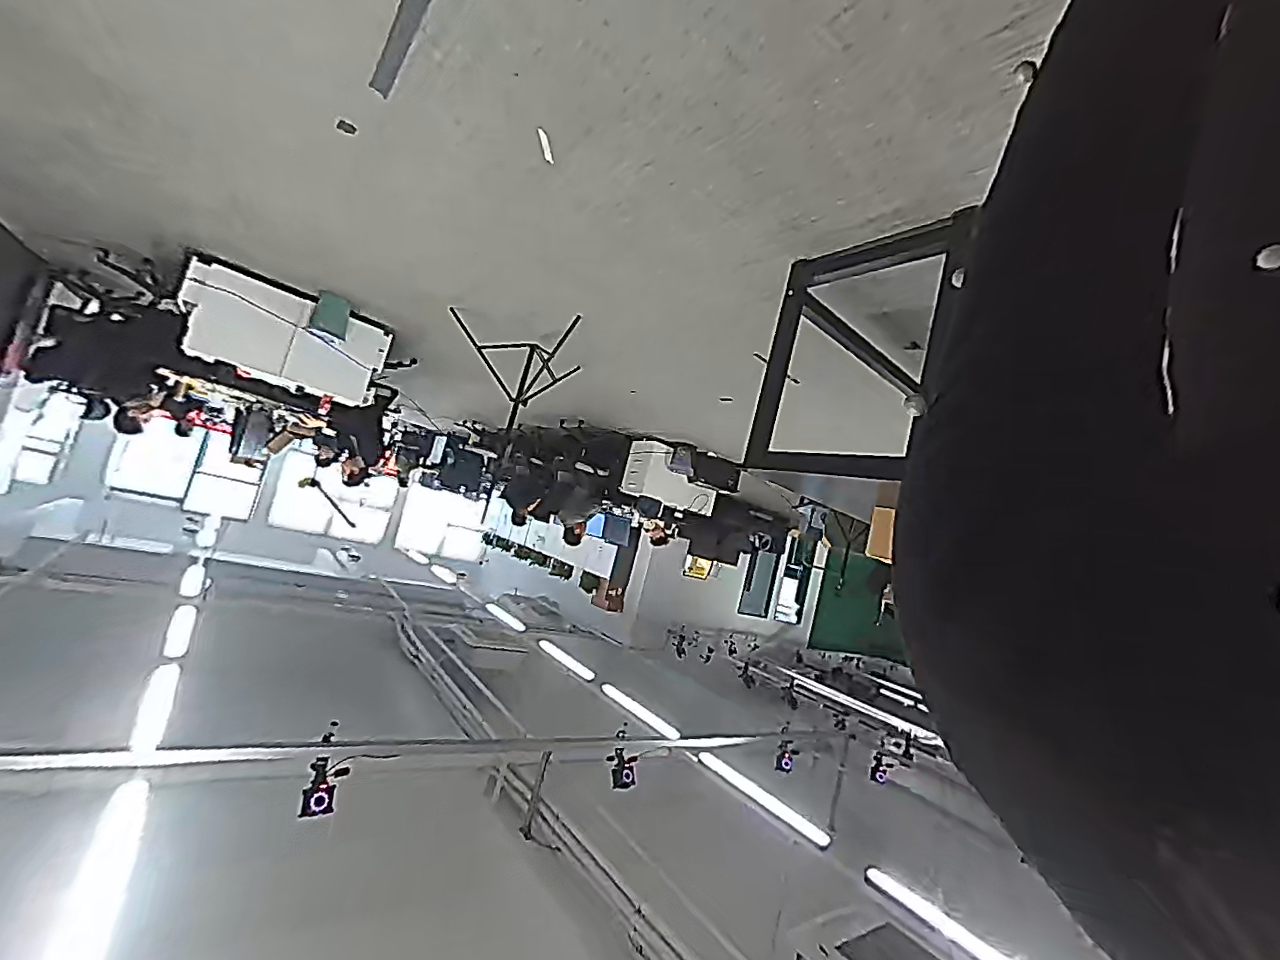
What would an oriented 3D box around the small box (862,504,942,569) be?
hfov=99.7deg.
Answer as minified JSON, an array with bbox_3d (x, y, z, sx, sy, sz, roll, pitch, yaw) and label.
[{"bbox_3d":[0.864,0.182,1.779,0.168,0.176,0.179,19,172,-41],"label":"small box"}]
